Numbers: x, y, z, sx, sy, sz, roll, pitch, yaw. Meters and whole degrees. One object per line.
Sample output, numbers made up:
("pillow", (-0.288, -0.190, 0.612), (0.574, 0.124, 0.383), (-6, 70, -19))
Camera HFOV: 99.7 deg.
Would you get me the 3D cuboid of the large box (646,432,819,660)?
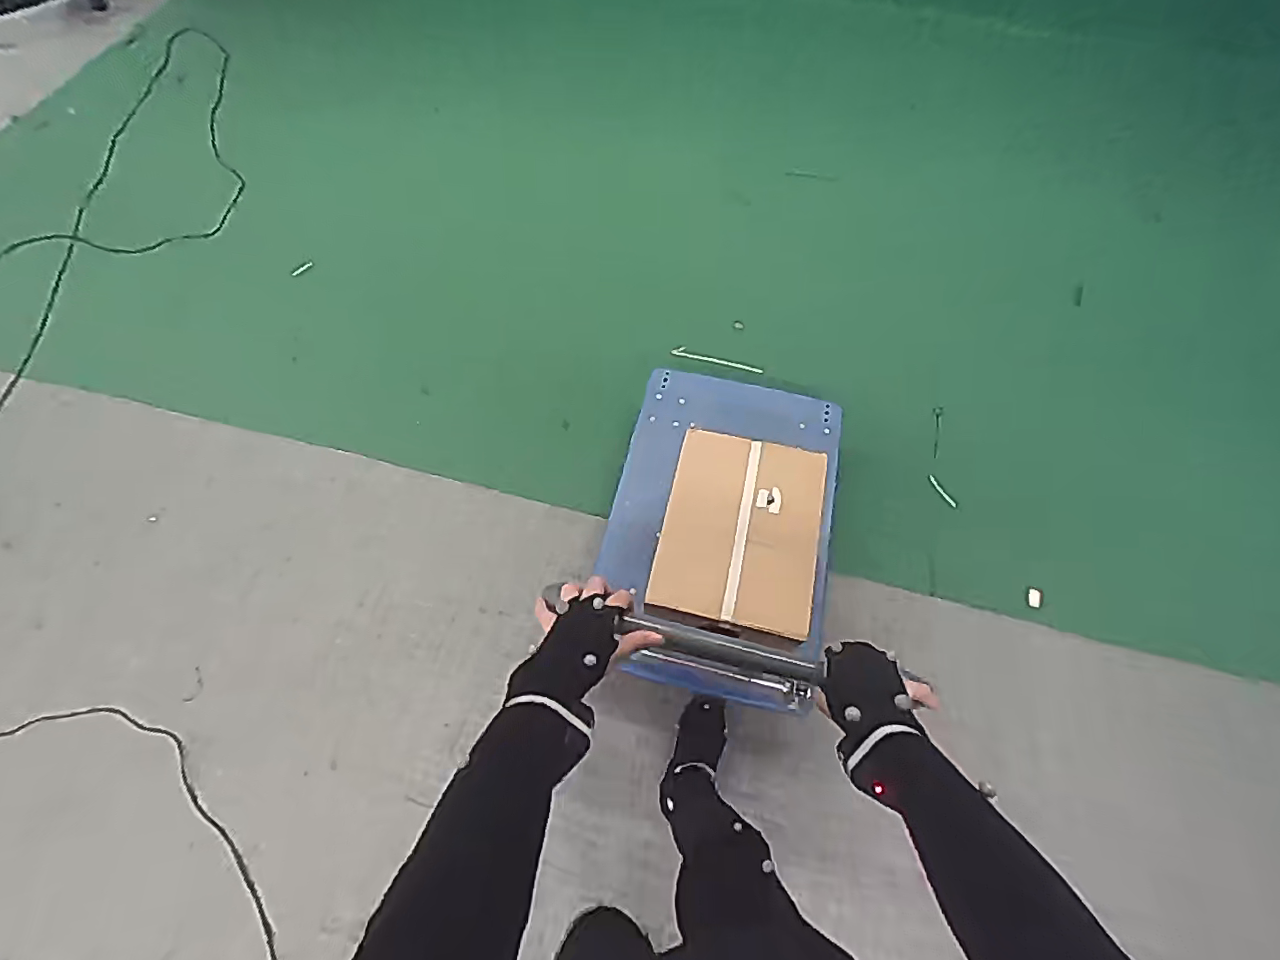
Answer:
("large box", (0.202, 0.161, 1.244), (0.320, 0.320, 0.408), (13, 64, 6))
